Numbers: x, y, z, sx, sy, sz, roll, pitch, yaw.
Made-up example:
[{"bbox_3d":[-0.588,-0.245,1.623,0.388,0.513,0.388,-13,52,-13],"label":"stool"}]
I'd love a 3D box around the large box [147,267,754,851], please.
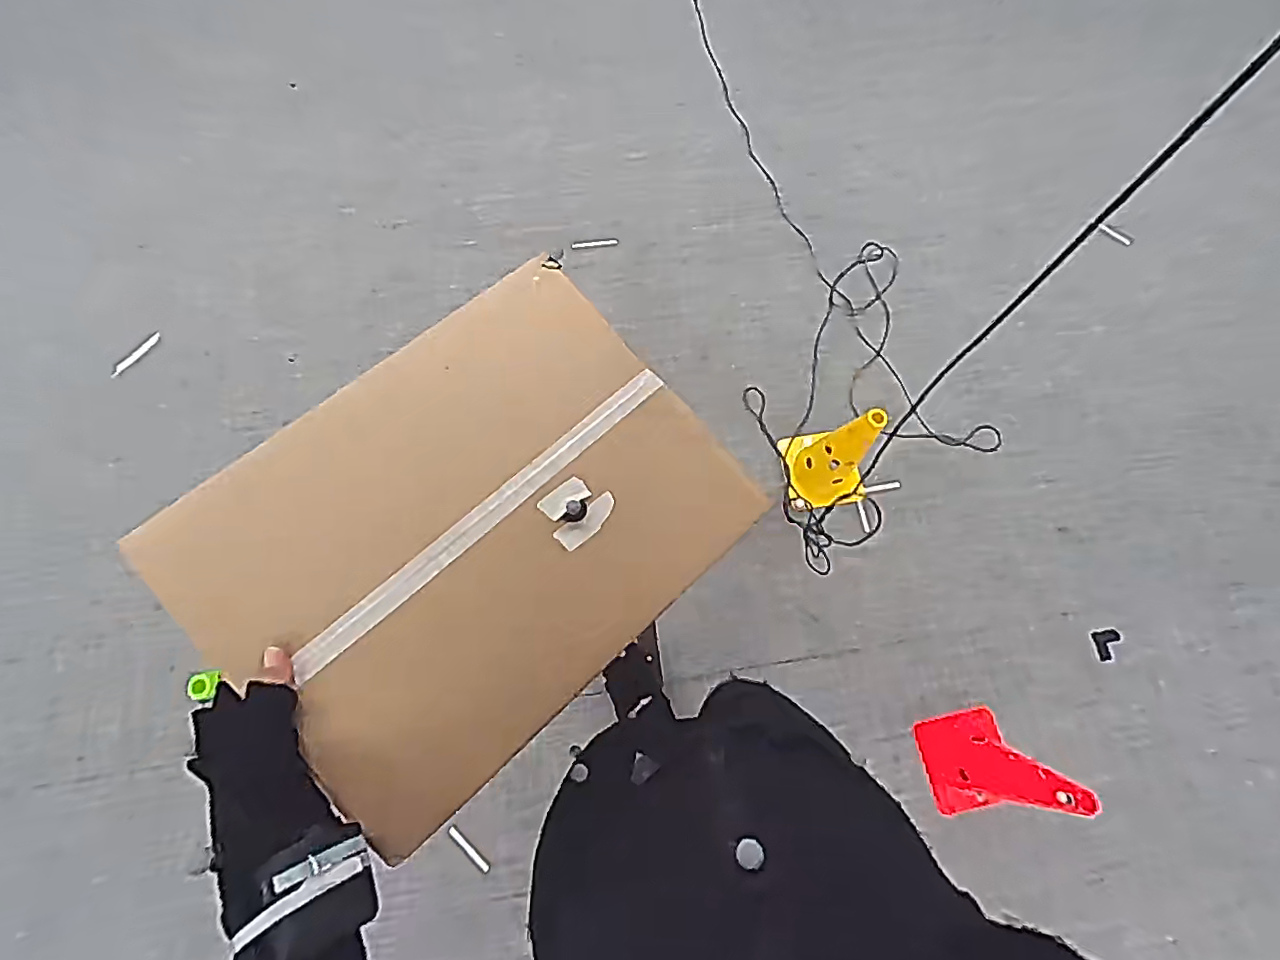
[{"bbox_3d":[-0.159,0.068,0.595,0.408,0.320,0.320,-41,88,-15],"label":"large box"}]

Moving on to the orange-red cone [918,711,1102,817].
[{"bbox_3d":[0.757,0.597,1.078,0.198,0.360,0.199,-10,72,-5],"label":"orange-red cone"}]
